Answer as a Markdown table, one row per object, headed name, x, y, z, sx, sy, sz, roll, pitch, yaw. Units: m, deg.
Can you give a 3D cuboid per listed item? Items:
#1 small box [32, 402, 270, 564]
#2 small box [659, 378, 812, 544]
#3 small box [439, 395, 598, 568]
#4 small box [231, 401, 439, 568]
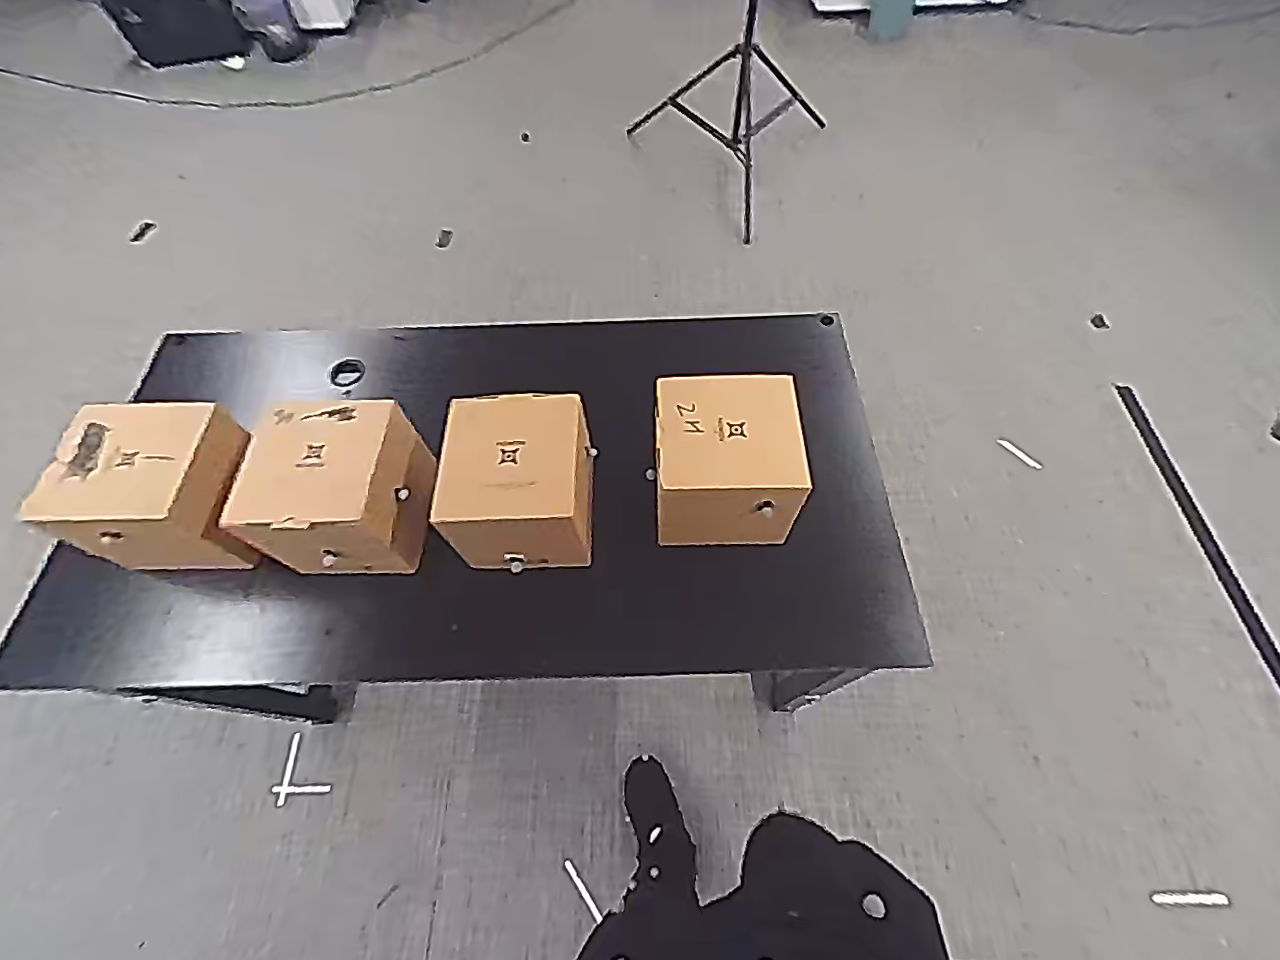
| name | x | y | z | sx | sy | sz | roll | pitch | yaw |
| --- | --- | --- | --- | --- | --- | --- | --- | --- | --- |
| small box | -0.619 | 0.010 | 0.733 | 0.179 | 0.176 | 0.168 | -1 | 62 | 0 |
| small box | 0.115 | -0.019 | 0.729 | 0.179 | 0.176 | 0.168 | -1 | 61 | 2 |
| small box | -0.148 | 0.007 | 0.726 | 0.168 | 0.176 | 0.179 | -3 | 62 | 1 |
| small box | -0.387 | 0.014 | 0.727 | 0.168 | 0.176 | 0.179 | 0 | 62 | 0 |
